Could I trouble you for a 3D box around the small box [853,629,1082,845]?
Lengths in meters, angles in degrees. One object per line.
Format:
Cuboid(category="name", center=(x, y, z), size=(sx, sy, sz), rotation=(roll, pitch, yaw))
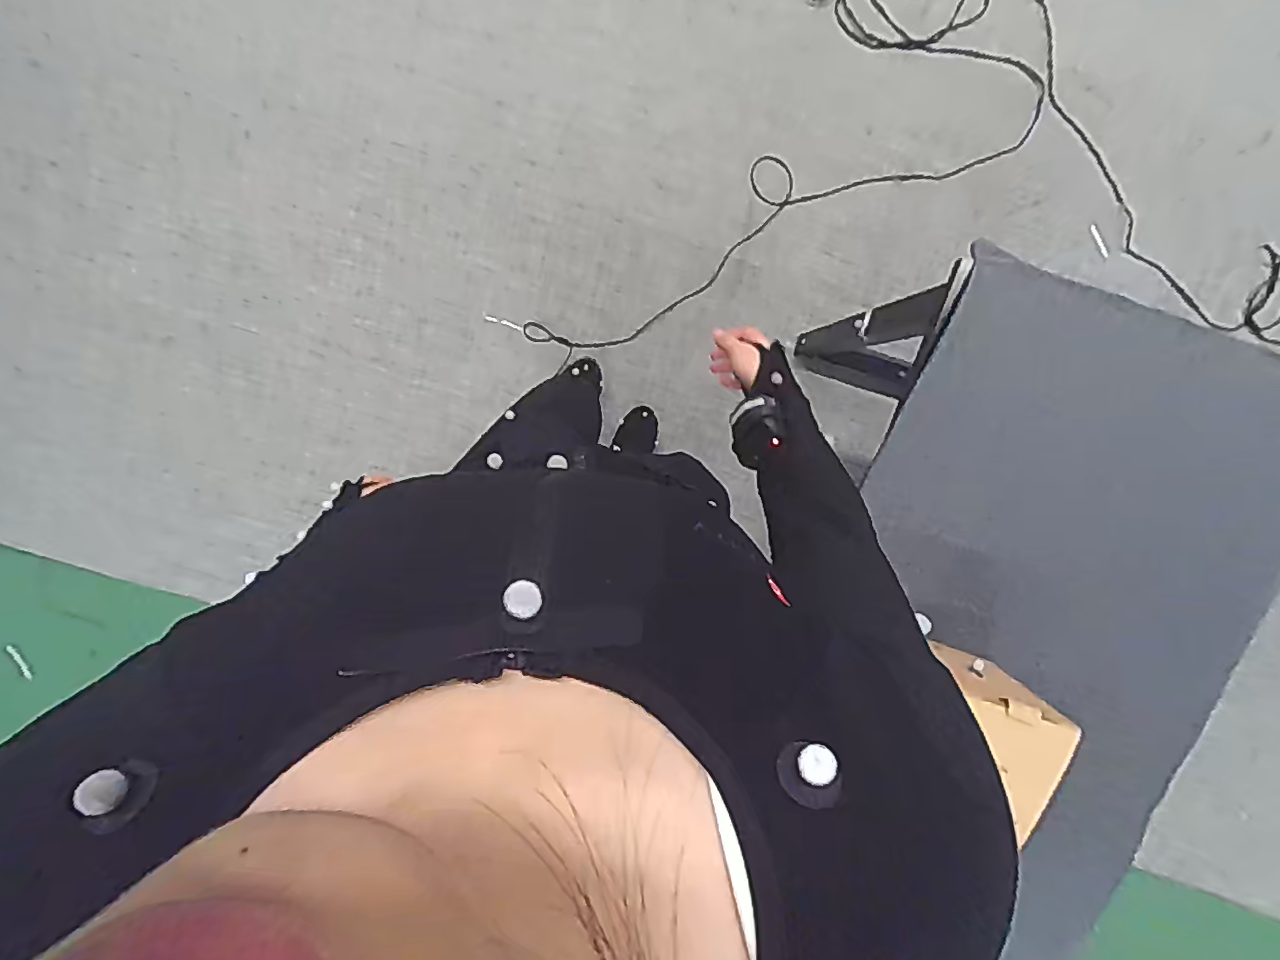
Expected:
Cuboid(category="small box", center=(0.414, 0.325, 0.717), size=(0.168, 0.176, 0.179), rotation=(19, 98, -5))
